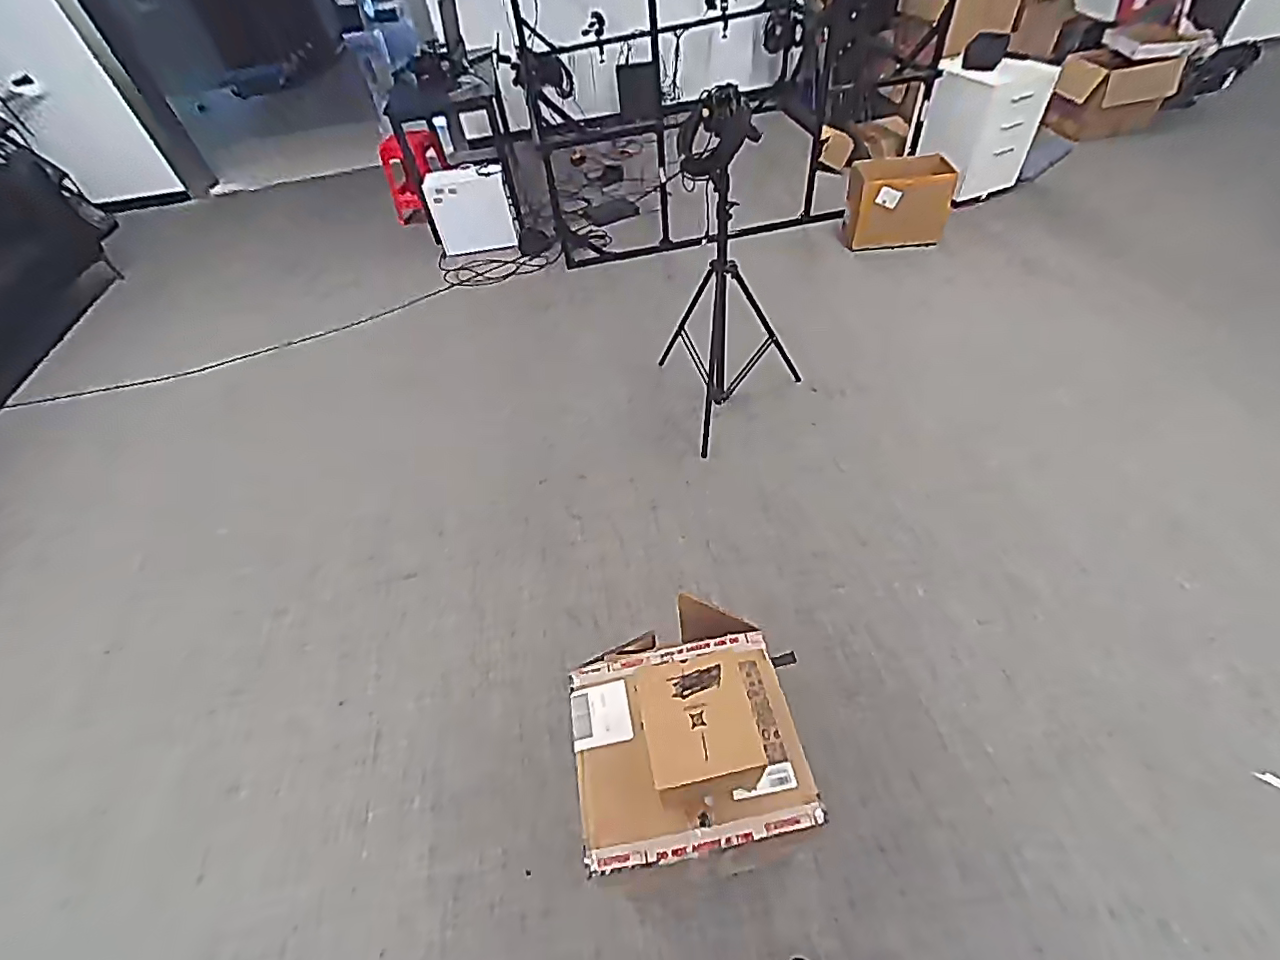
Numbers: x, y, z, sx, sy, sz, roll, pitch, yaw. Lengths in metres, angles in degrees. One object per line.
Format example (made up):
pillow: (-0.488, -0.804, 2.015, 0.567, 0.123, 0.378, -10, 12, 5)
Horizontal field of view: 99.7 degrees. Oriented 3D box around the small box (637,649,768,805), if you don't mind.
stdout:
small box: (0.094, 0.401, 0.876, 0.168, 0.176, 0.179, -12, 52, -3)
